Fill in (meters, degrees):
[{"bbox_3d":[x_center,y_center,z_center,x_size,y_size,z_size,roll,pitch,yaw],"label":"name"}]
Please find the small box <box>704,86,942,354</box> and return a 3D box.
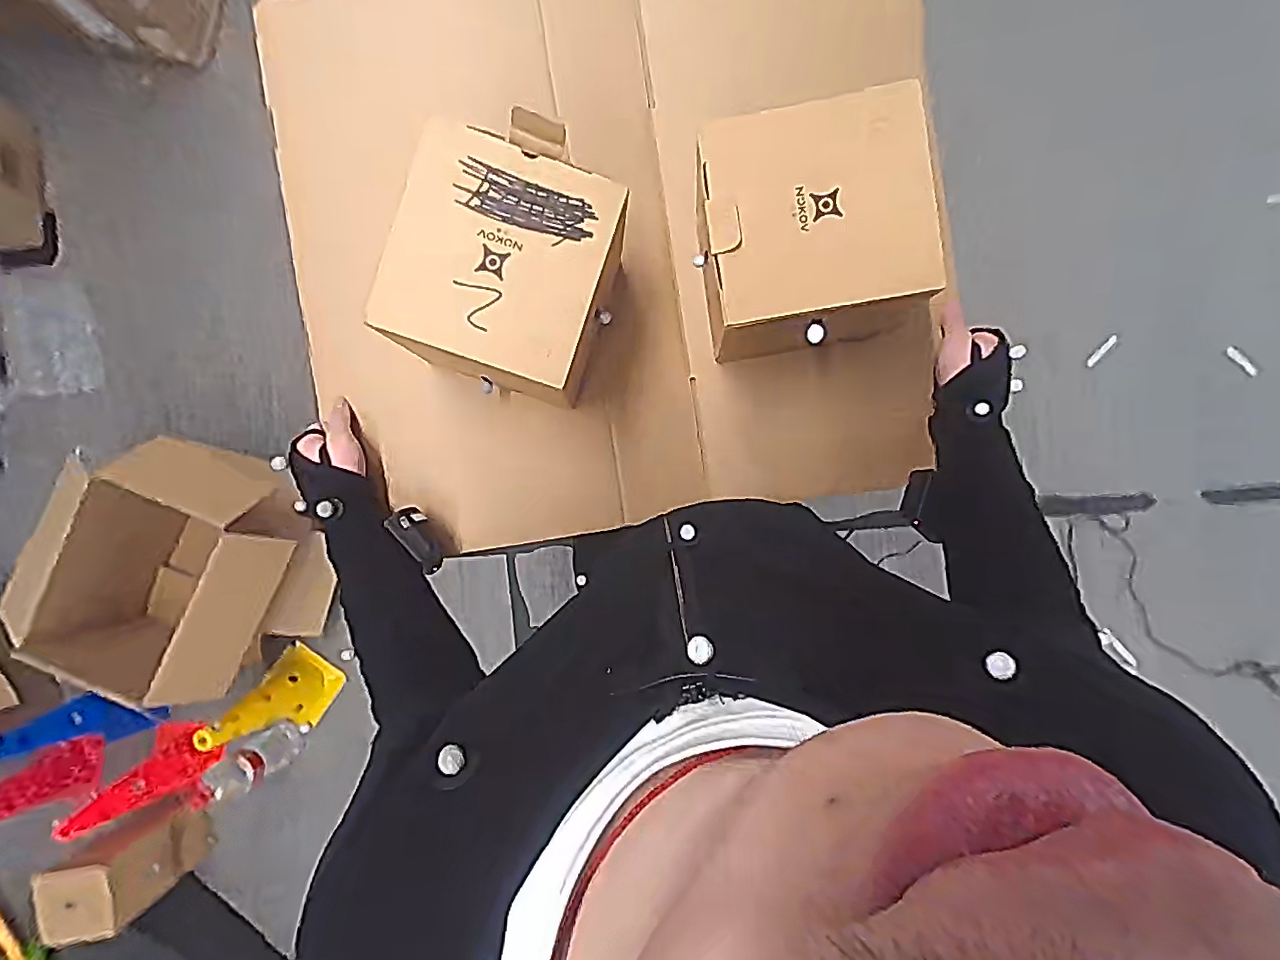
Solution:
[{"bbox_3d":[0.158,-0.228,0.523,0.179,0.176,0.168,-8,92,7],"label":"small box"}]
